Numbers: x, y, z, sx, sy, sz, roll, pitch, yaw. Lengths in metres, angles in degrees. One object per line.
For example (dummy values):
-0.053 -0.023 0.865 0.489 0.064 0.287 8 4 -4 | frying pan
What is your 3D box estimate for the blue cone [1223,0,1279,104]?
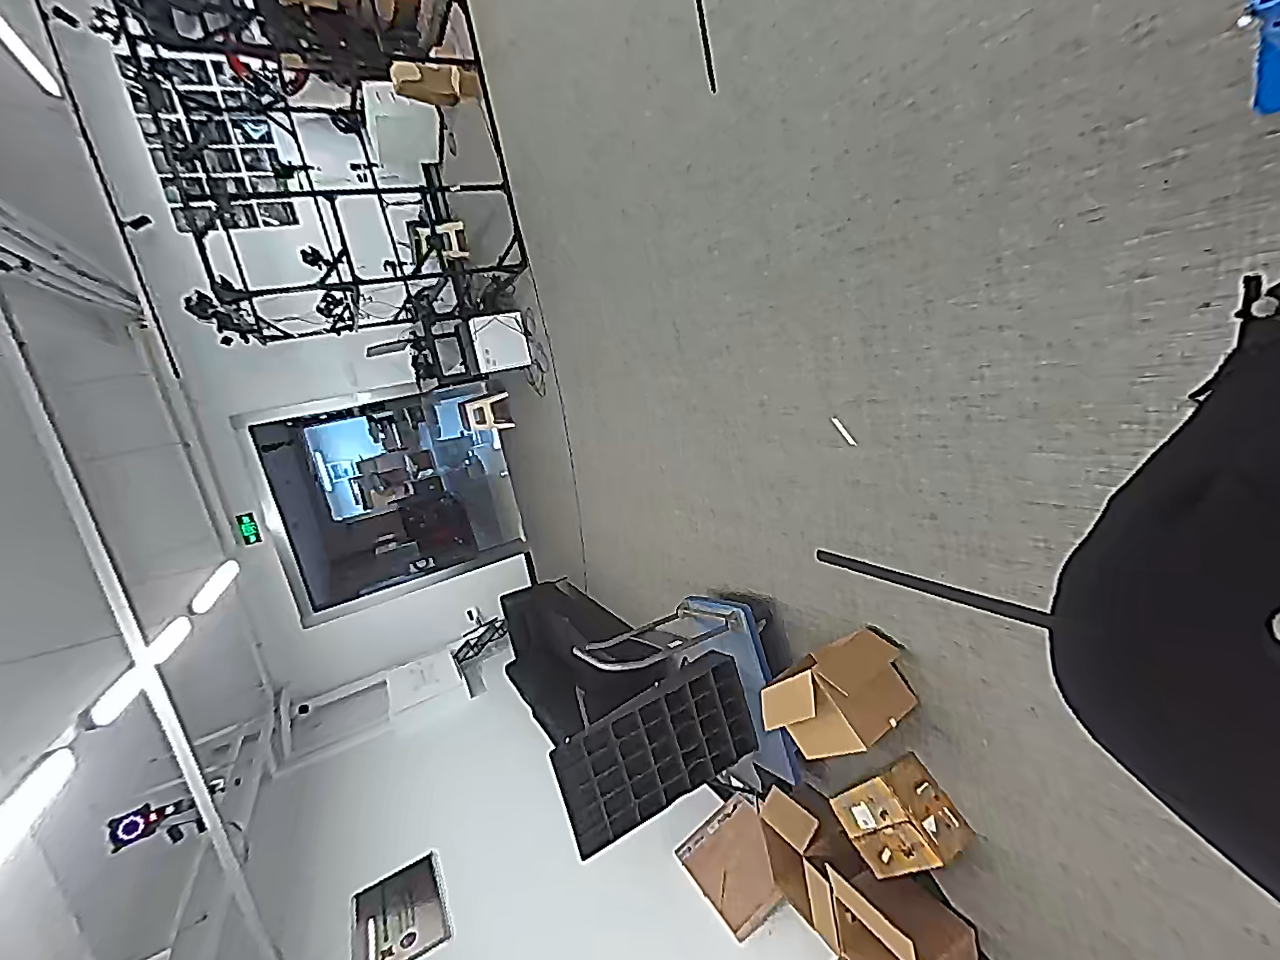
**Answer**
0.936 -0.668 0.758 0.192 0.380 0.193 21 124 60 | blue cone
